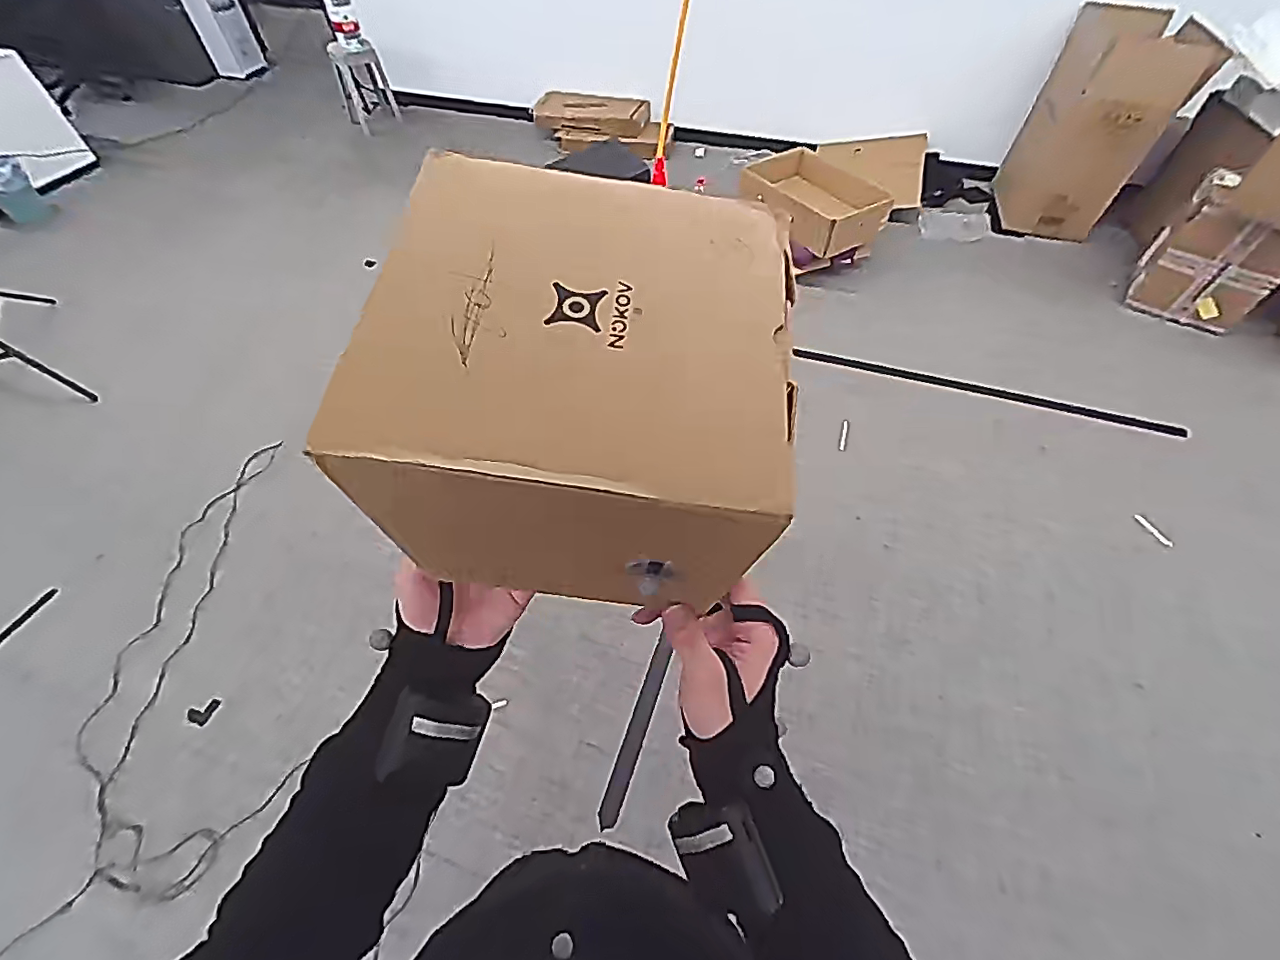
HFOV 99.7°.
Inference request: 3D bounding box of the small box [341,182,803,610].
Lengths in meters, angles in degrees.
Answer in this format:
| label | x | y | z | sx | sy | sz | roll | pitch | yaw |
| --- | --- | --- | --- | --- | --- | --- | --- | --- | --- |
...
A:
| label | x | y | z | sx | sy | sz | roll | pitch | yaw |
| --- | --- | --- | --- | --- | --- | --- | --- | --- | --- |
| small box | -0.025 | -0.029 | 0.307 | 0.179 | 0.176 | 0.168 | 6 | 63 | -3 |
